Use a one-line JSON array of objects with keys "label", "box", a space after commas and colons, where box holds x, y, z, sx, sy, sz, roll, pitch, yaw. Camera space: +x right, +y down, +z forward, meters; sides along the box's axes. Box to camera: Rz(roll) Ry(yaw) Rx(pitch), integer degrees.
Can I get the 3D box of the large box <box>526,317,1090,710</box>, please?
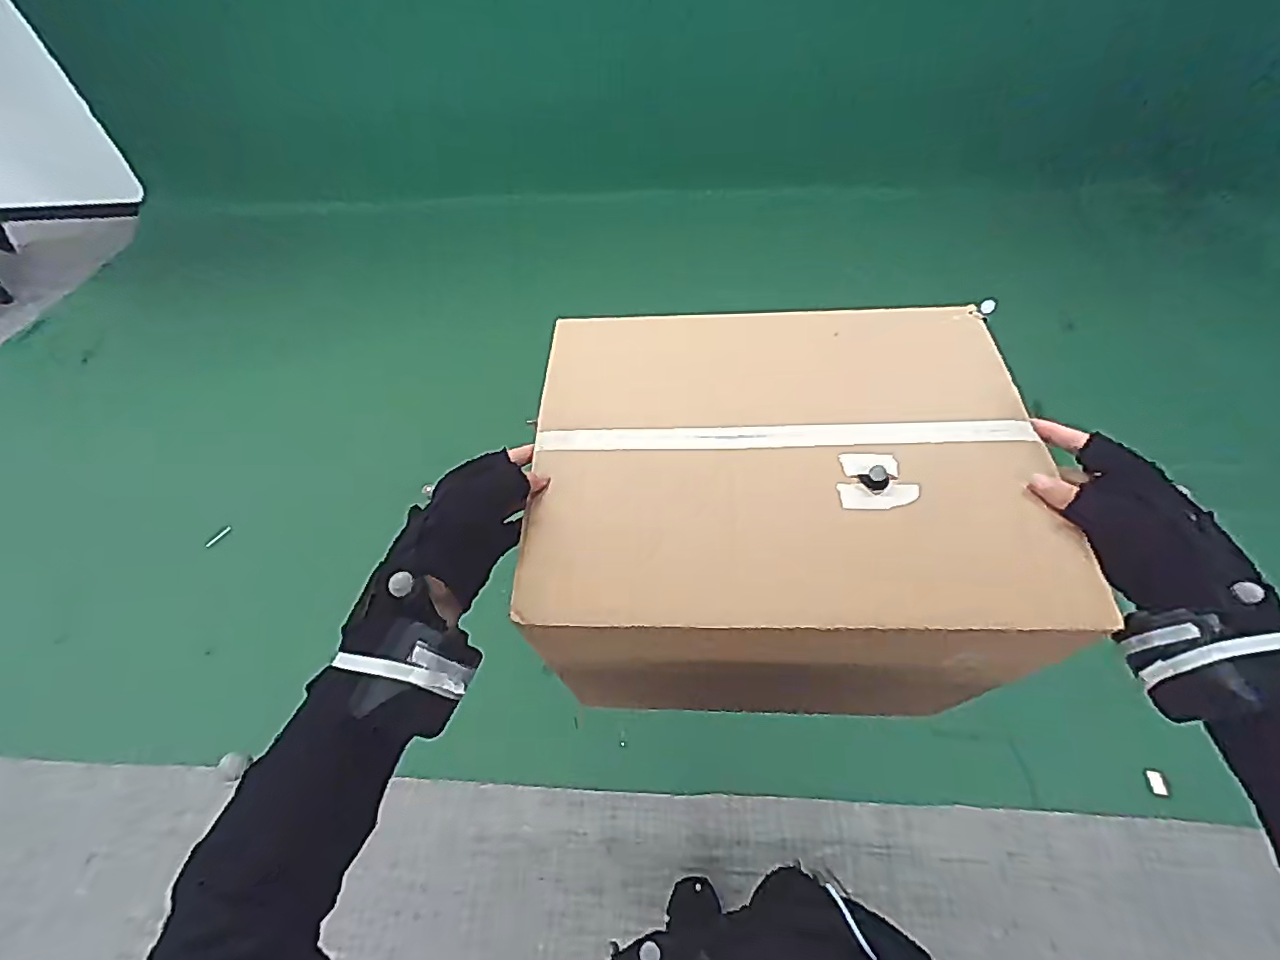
[{"label": "large box", "box": [0.123, 0.055, 0.585, 0.408, 0.320, 0.320, -1, 58, 4]}]
